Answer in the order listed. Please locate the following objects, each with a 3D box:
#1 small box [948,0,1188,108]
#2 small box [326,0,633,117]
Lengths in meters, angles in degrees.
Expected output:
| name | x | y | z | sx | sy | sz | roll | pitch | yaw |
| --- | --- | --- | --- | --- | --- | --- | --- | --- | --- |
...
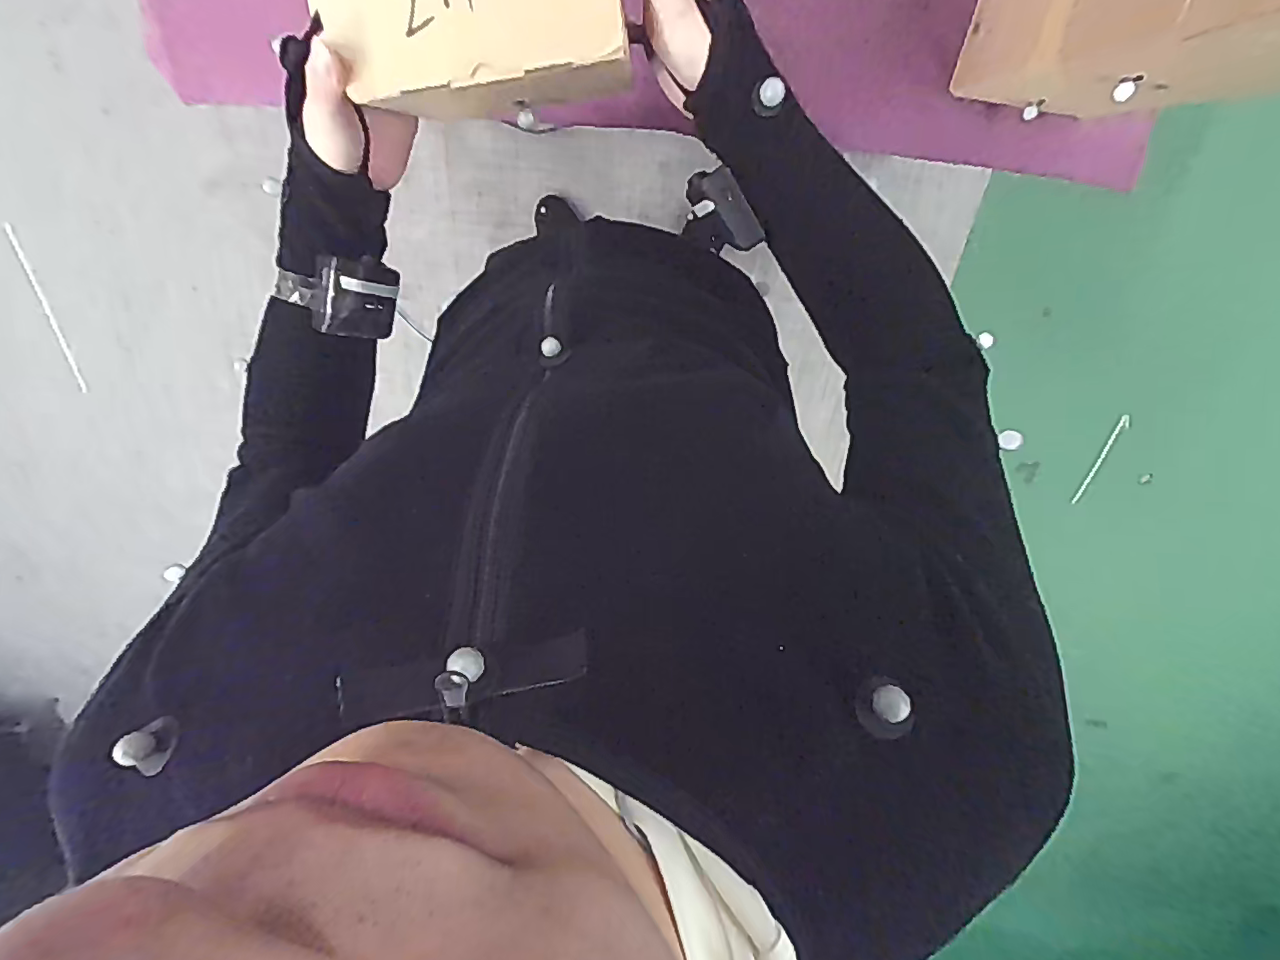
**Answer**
| name | x | y | z | sx | sy | sz | roll | pitch | yaw |
| --- | --- | --- | --- | --- | --- | --- | --- | --- | --- |
| small box | 0.461 | -0.493 | 0.547 | 0.179 | 0.176 | 0.168 | 8 | 119 | -3 |
| small box | -0.096 | -0.349 | 0.340 | 0.168 | 0.176 | 0.179 | -6 | 120 | 5 |
